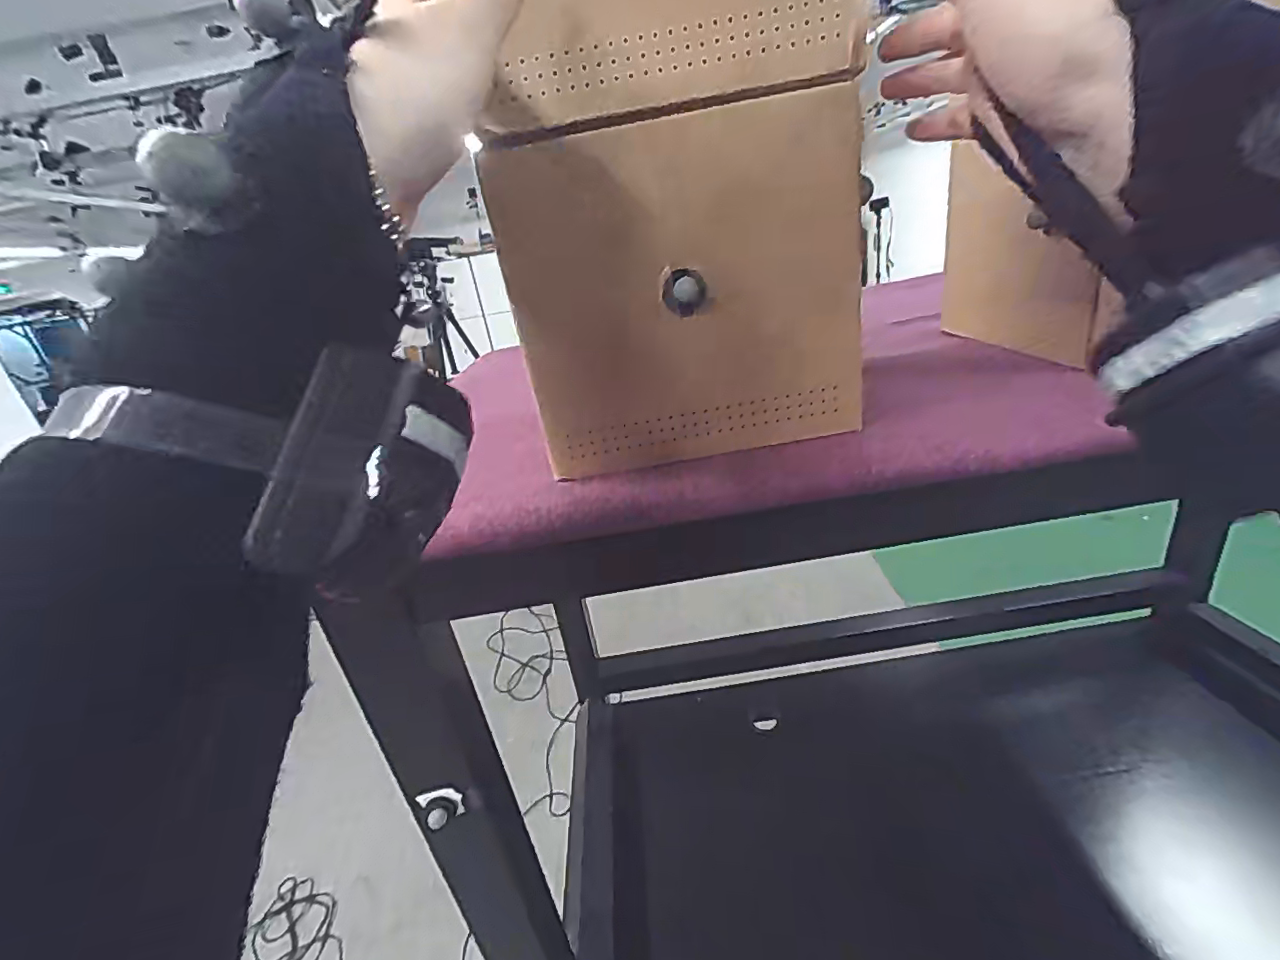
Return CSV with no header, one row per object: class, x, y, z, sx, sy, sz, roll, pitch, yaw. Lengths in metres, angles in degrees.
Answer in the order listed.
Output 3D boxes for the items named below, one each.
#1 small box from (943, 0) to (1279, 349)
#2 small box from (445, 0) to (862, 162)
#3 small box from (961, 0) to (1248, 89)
small box,0.332,-0.190,0.363,0.168,0.176,0.179,-8,22,2
small box,-0.007,-0.272,0.269,0.179,0.176,0.168,-11,24,1
small box,0.305,-0.340,0.299,0.179,0.176,0.168,-8,24,3
